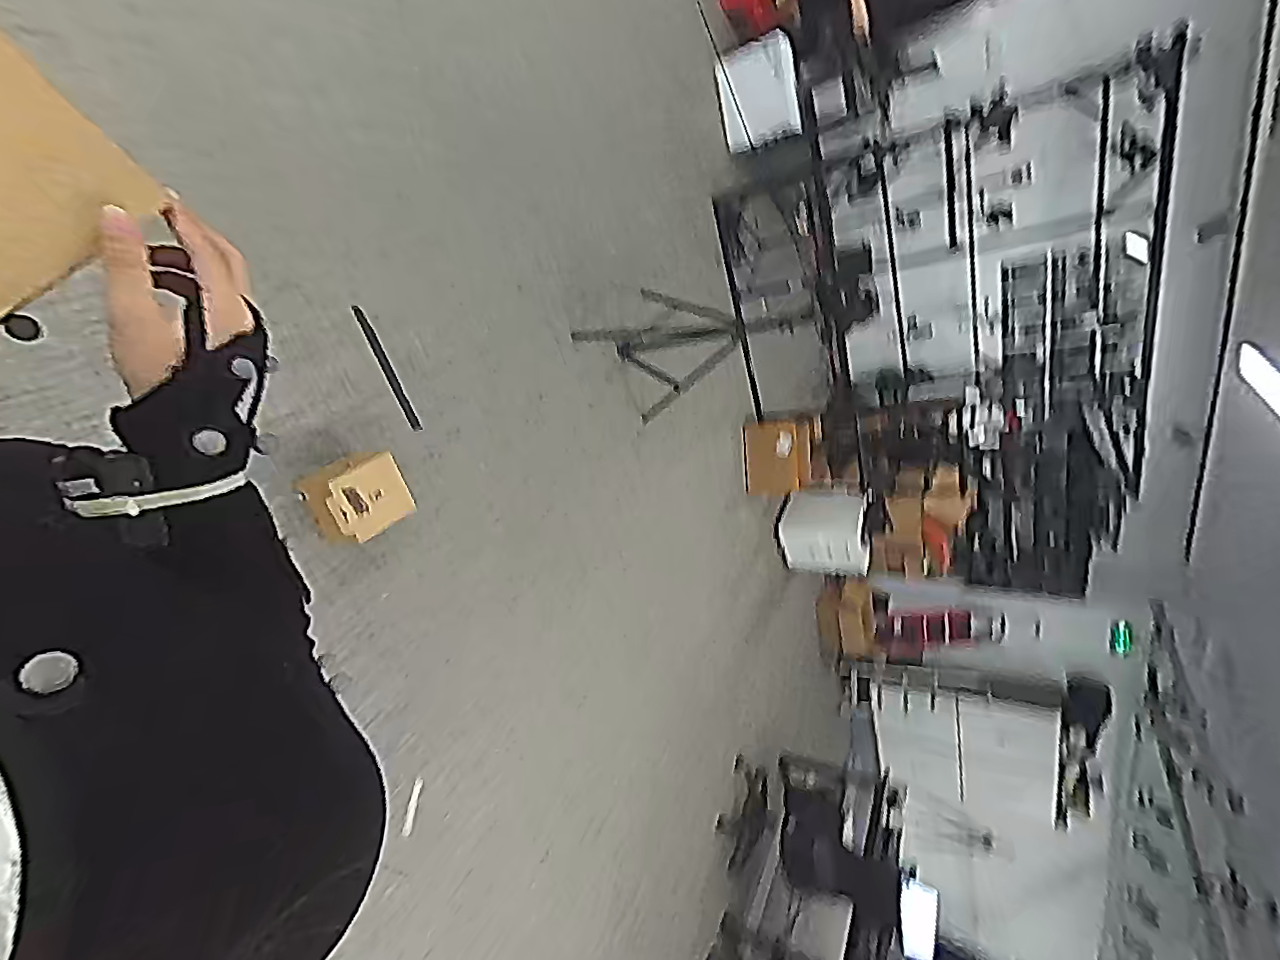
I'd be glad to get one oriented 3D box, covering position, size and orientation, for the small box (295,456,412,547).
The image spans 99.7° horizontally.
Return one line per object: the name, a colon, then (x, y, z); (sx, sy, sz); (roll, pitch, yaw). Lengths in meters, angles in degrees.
small box: (-0.717, 0.051, 1.343); (0.179, 0.176, 0.168); (-44, 125, -48)
